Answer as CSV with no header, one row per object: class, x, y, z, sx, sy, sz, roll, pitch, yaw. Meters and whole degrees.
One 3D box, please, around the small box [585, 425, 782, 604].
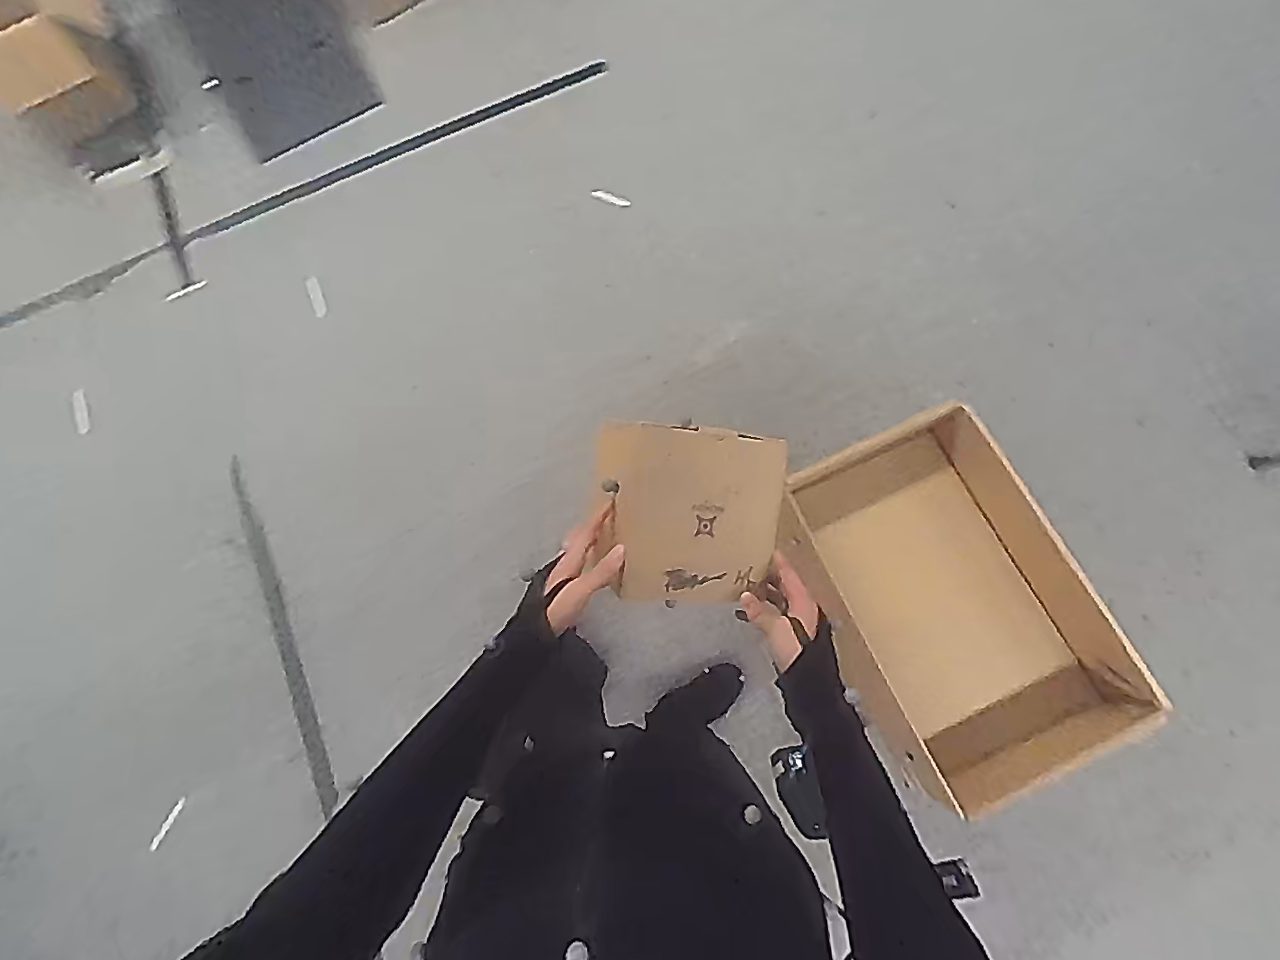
small box,0.039,0.032,0.625,0.168,0.176,0.179,5,96,-19
